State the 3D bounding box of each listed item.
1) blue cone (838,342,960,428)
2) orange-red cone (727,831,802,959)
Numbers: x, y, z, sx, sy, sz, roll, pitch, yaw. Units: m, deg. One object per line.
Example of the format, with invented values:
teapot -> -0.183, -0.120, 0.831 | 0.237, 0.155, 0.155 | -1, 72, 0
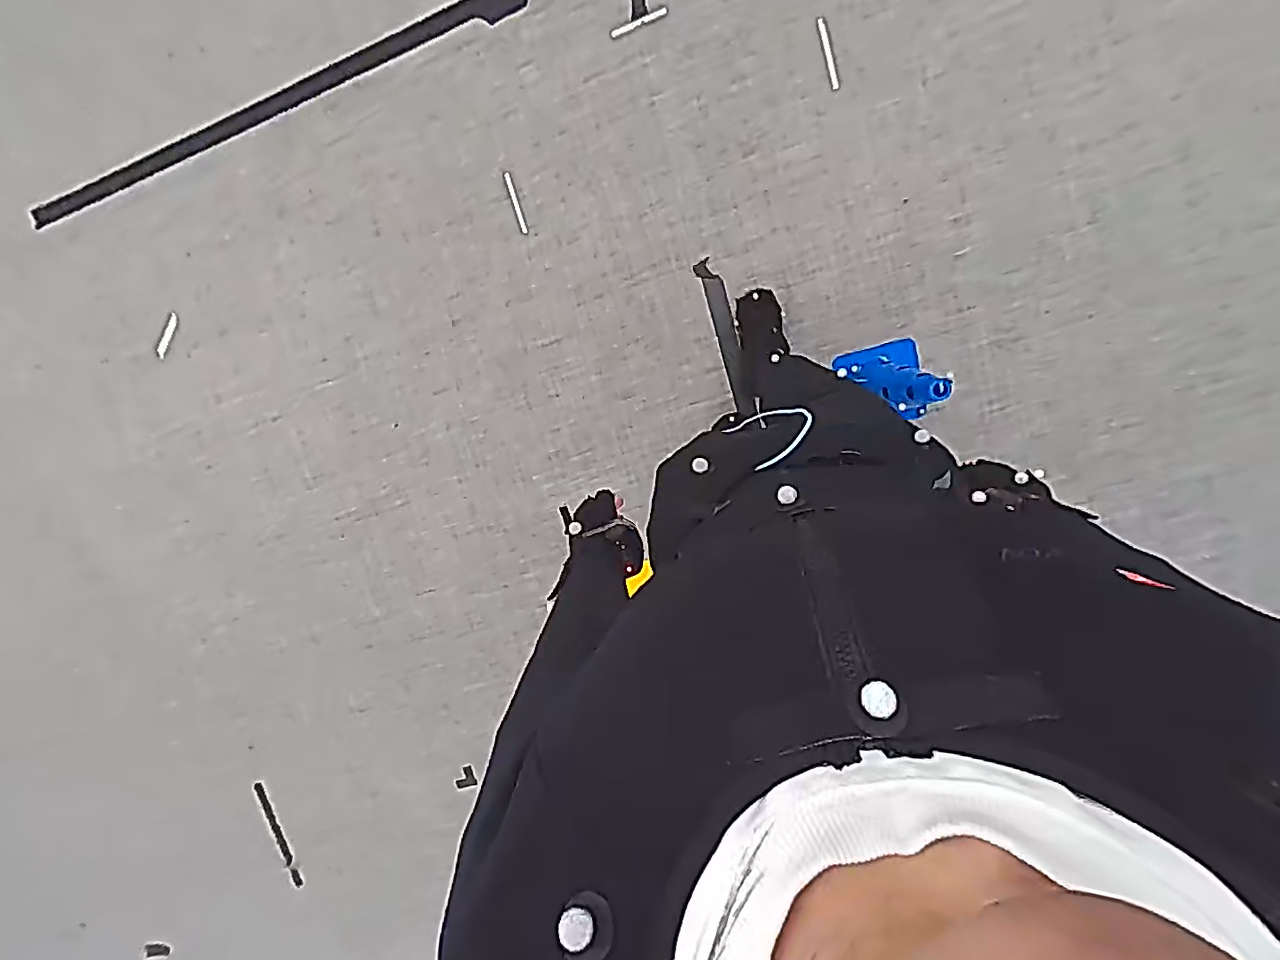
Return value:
blue cone -> 0.579, -0.203, 1.177 | 0.192, 0.380, 0.193 | -12, 99, 8
orange-red cone -> 0.346, 1.154, 1.428 | 0.199, 0.360, 0.198 | -11, 97, 9
